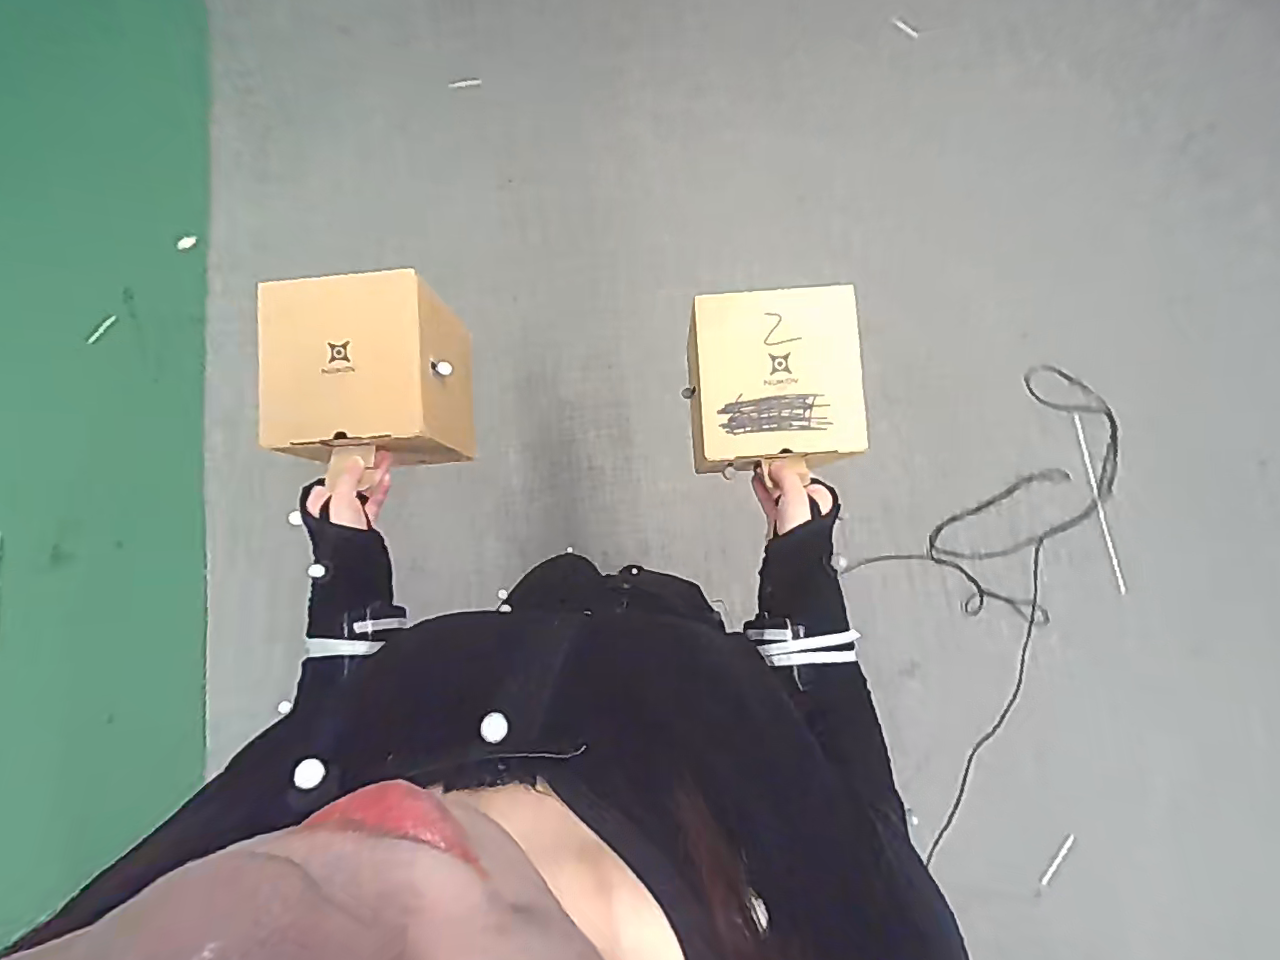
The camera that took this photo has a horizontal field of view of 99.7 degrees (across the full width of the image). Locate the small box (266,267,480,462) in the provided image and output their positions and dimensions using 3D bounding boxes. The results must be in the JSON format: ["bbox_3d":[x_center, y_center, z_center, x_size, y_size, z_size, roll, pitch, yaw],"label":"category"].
[{"bbox_3d":[-0.291,-0.121,0.623,0.168,0.176,0.179,-3,84,1],"label":"small box"}]
